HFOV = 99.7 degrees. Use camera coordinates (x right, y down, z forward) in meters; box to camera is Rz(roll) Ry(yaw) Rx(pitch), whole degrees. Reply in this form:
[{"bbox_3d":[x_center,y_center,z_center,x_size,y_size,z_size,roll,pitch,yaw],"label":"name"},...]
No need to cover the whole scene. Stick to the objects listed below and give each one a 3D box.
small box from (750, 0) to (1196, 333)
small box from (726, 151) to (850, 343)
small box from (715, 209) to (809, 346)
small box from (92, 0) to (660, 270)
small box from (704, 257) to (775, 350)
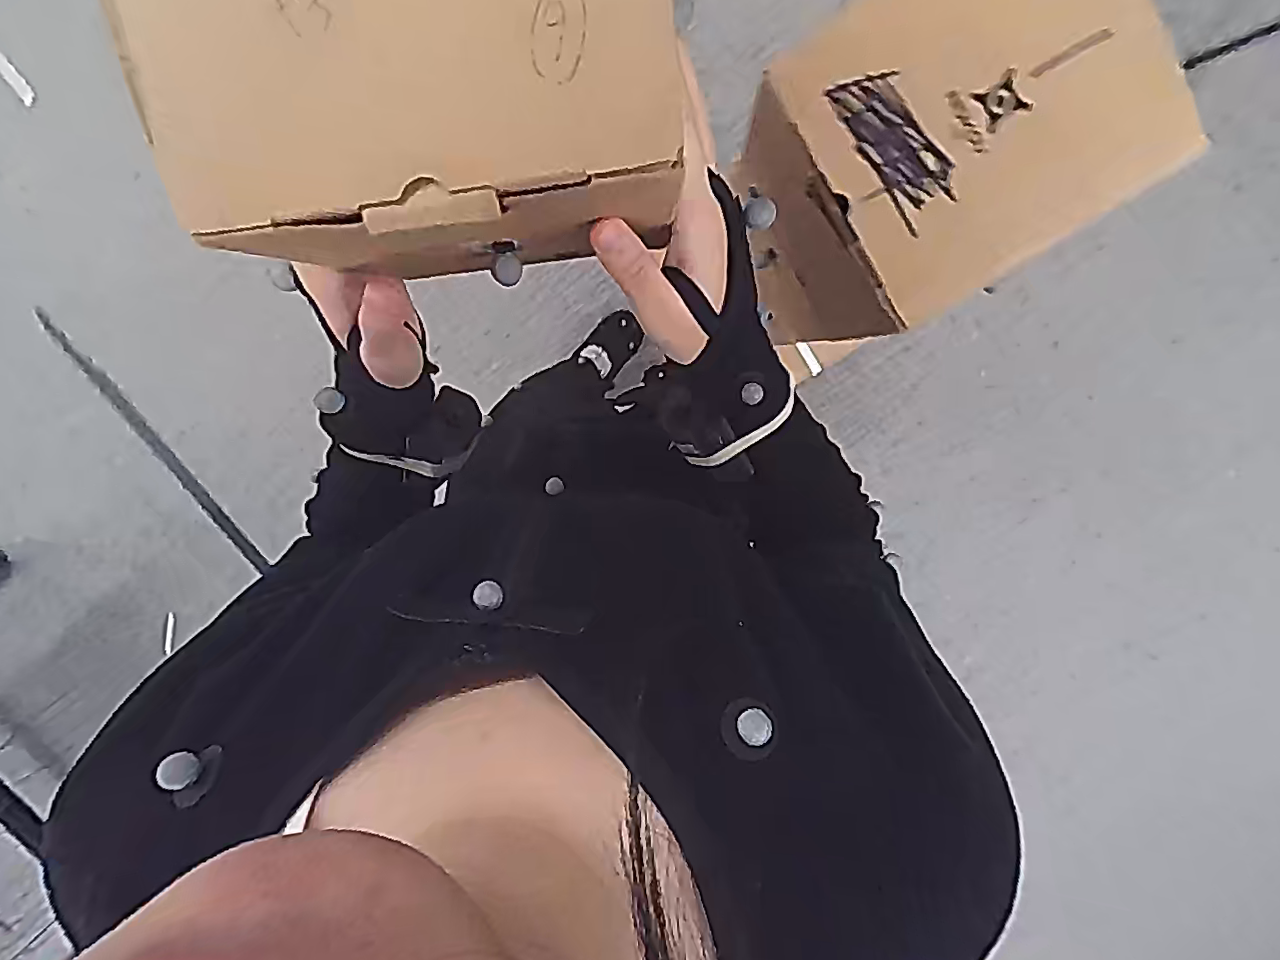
[{"bbox_3d":[0.188,-0.215,0.369,0.179,0.176,0.168,-31,99,10],"label":"small box"},{"bbox_3d":[0.199,-0.253,0.529,0.168,0.176,0.179,-31,98,11],"label":"small box"},{"bbox_3d":[0.209,-0.288,0.687,0.168,0.176,0.179,-31,99,10],"label":"small box"},{"bbox_3d":[-0.081,-0.191,0.228,0.168,0.176,0.179,-7,107,3],"label":"small box"},{"bbox_3d":[0.232,-0.358,1.007,0.168,0.176,0.179,-35,99,12],"label":"small box"}]
